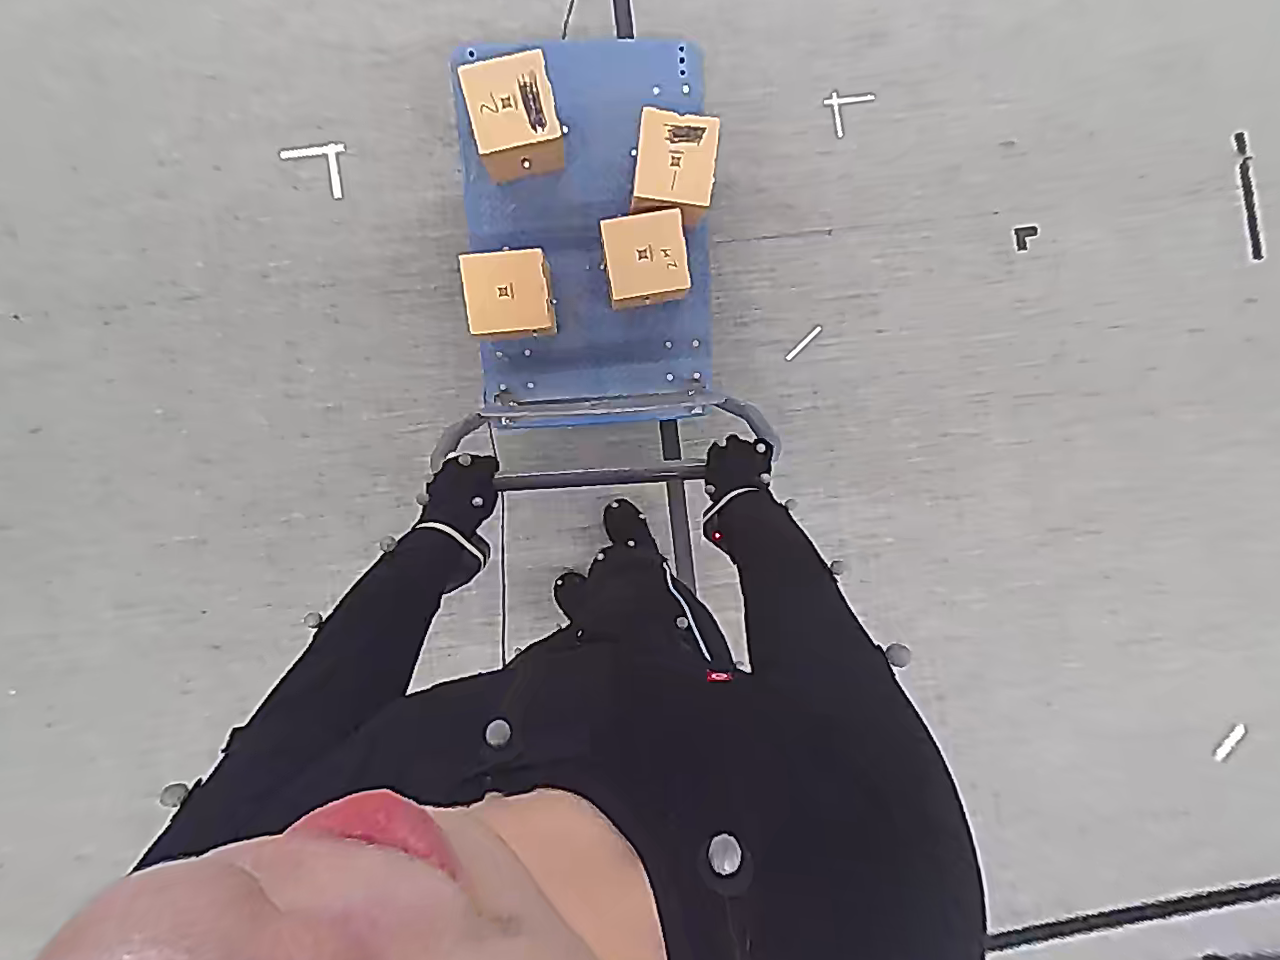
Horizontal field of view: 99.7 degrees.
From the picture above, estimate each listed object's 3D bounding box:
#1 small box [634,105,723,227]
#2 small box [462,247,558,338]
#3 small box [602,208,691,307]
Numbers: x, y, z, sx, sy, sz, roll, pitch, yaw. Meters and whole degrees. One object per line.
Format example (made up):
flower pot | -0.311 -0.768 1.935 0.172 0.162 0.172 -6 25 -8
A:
small box | 0.077 -0.690 1.206 0.168 0.176 0.179 6 101 -4
small box | -0.290 -0.420 1.235 0.179 0.176 0.168 -6 100 -4
small box | 0.013 -0.500 1.237 0.179 0.176 0.168 -9 101 -1
